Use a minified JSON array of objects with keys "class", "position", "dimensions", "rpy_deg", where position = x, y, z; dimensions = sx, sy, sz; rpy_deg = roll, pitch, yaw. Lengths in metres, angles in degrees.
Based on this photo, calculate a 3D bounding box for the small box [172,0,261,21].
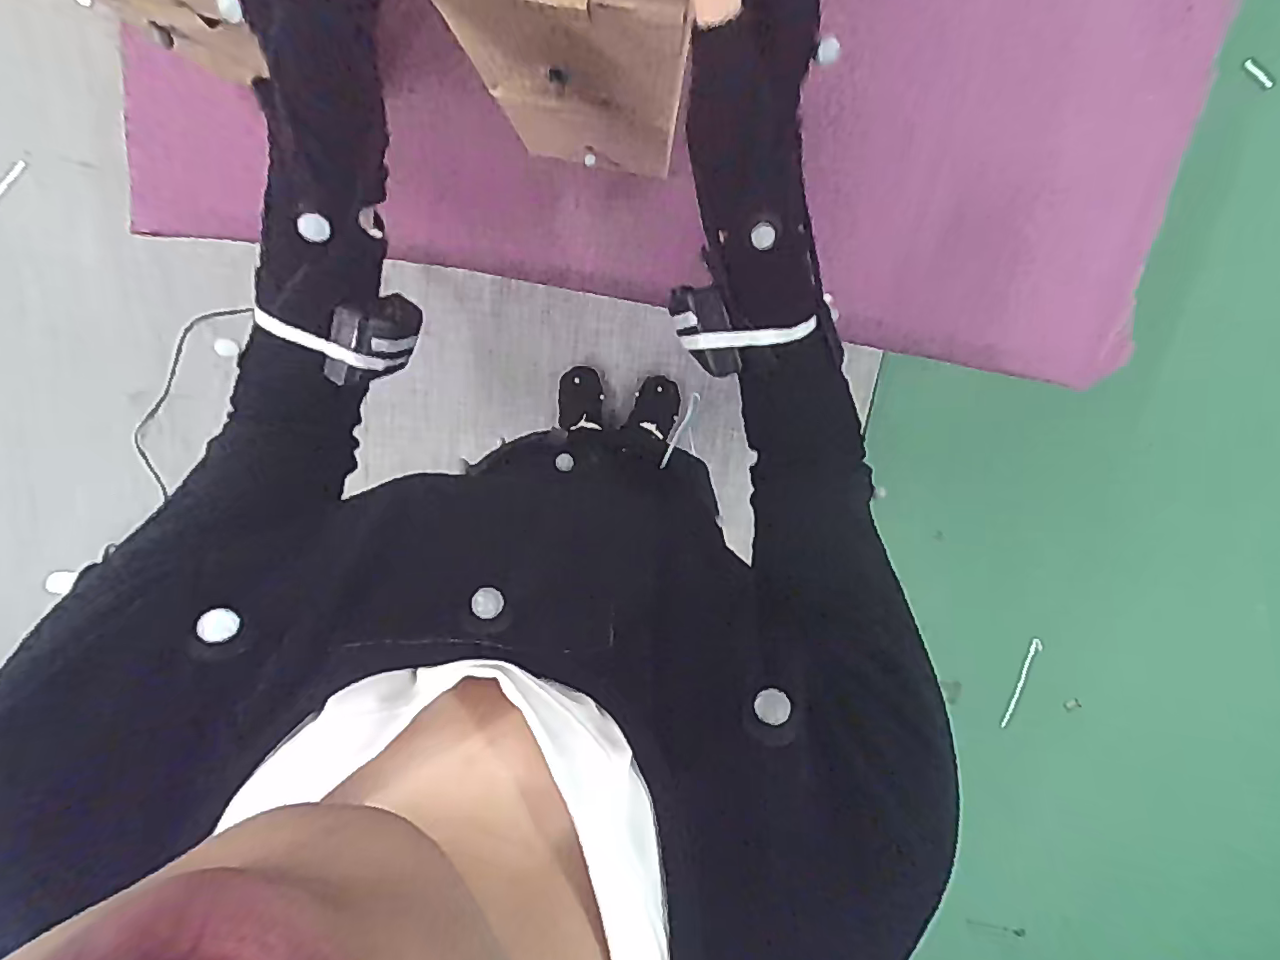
[{"class":"small box","position":[-0.381,-0.457,0.357],"dimensions":[0.168,0.176,0.179],"rpy_deg":[10,106,-4]}]

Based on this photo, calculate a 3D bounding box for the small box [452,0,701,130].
[{"class":"small box","position":[-0.034,-0.384,0.378],"dimensions":[0.168,0.176,0.179],"rpy_deg":[9,106,-2]}]

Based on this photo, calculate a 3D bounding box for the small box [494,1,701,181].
[{"class":"small box","position":[-0.032,-0.426,0.535],"dimensions":[0.168,0.176,0.179],"rpy_deg":[11,105,-2]}]
